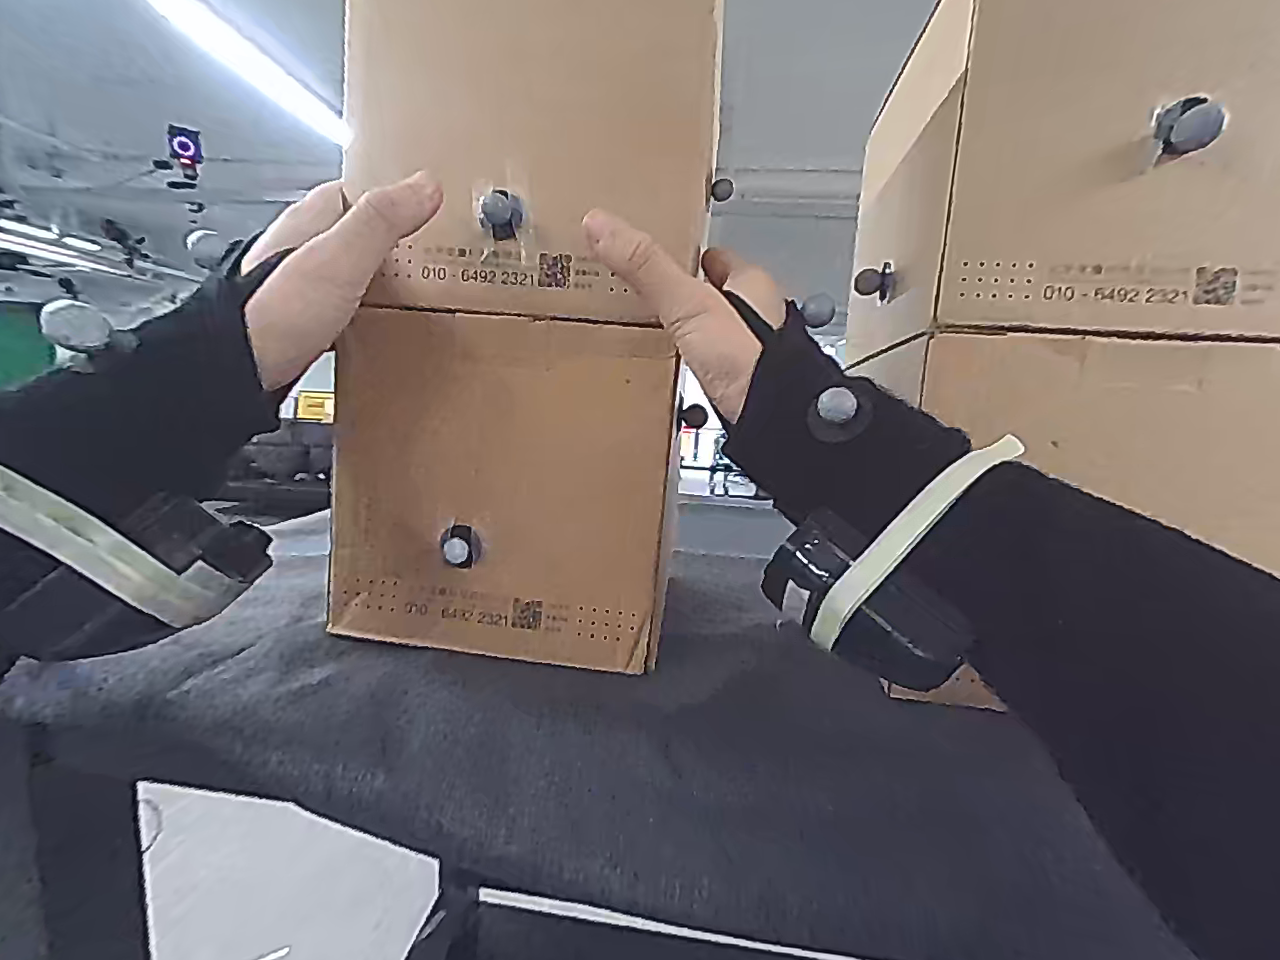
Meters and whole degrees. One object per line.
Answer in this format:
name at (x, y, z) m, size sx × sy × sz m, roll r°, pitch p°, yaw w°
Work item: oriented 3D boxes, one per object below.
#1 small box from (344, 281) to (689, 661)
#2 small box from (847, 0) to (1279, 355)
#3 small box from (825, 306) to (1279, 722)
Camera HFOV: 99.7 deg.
small box at (-0.060, -0.010, 0.335) m, size 0.168 × 0.176 × 0.179 m, roll 5°, pitch 6°, yaw 5°
small box at (0.223, -0.155, 0.294) m, size 0.168 × 0.176 × 0.179 m, roll 5°, pitch 6°, yaw 7°
small box at (0.211, 0.008, 0.310) m, size 0.168 × 0.176 × 0.179 m, roll 4°, pitch 6°, yaw 7°
